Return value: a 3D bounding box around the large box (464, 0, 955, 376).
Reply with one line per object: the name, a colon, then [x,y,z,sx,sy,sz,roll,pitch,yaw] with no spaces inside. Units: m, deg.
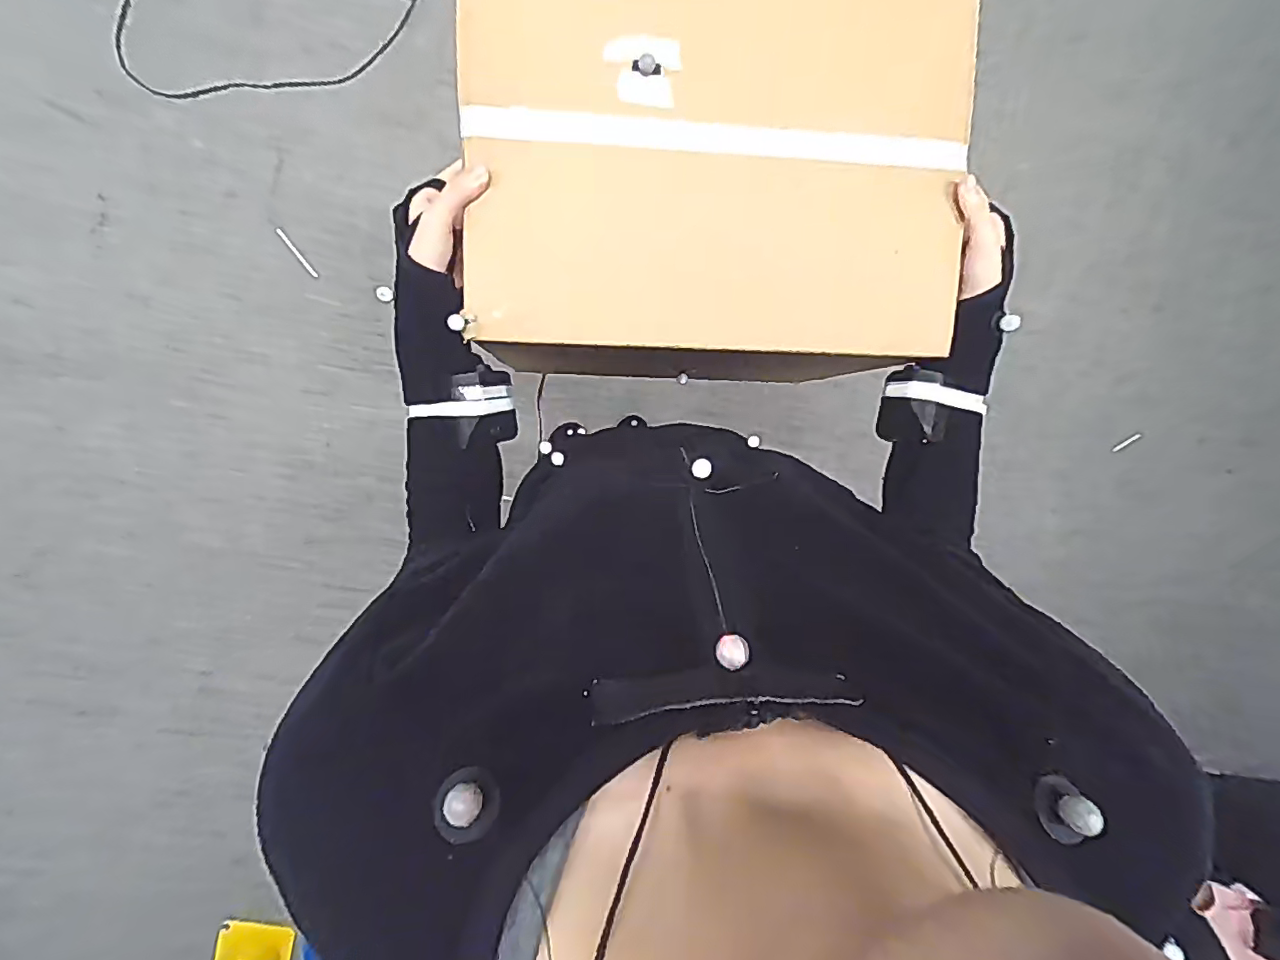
large box: [0.048,-0.280,0.591,0.408,0.320,0.320,1,96,-6]
